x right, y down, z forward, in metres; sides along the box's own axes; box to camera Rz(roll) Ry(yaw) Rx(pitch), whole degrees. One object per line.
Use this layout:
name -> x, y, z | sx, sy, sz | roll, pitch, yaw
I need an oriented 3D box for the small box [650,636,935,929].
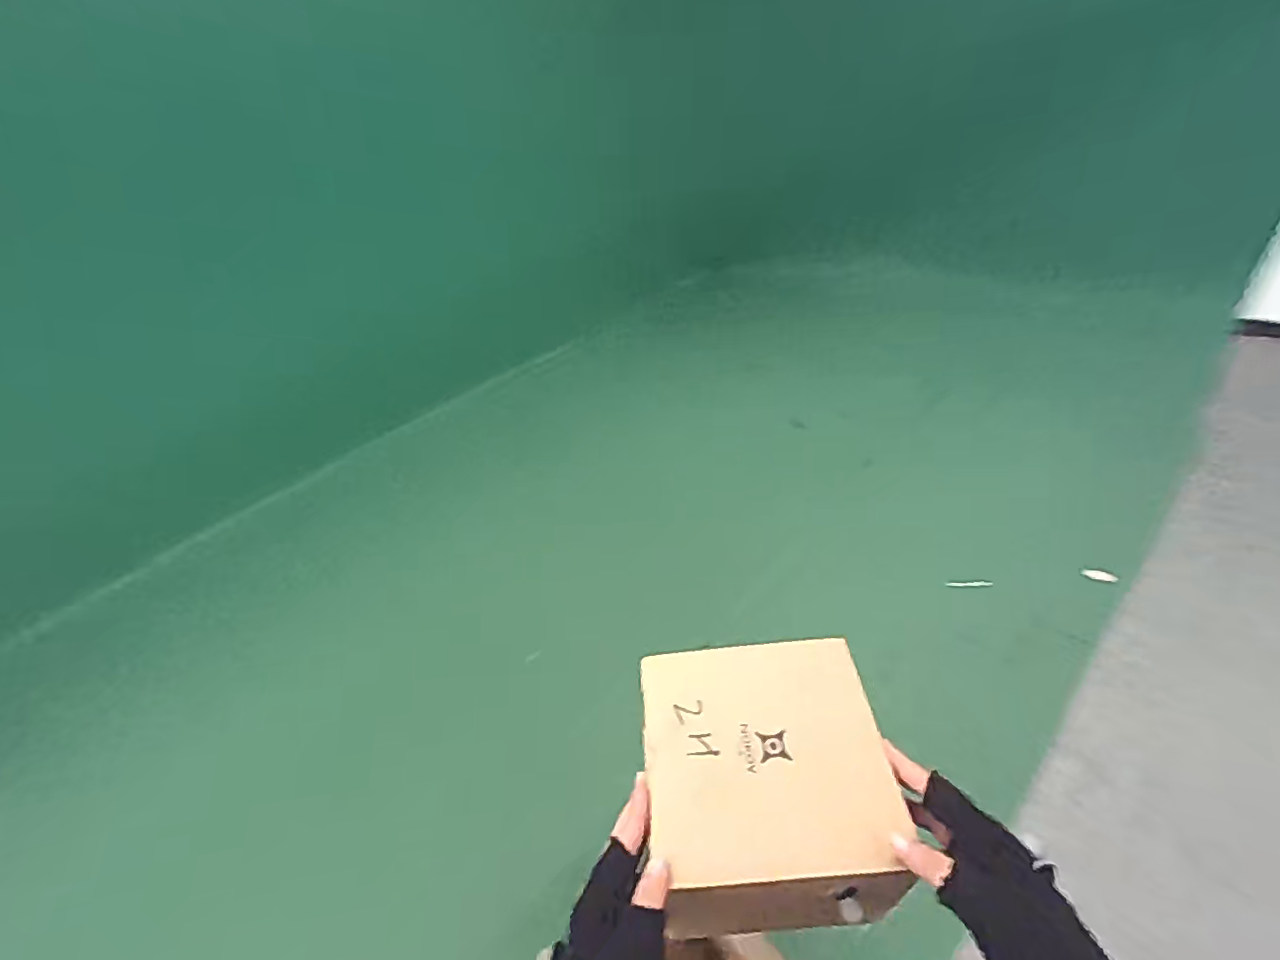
small box -> 0.104, 0.250, 0.447 | 0.179, 0.176, 0.168 | -6, 41, 3
